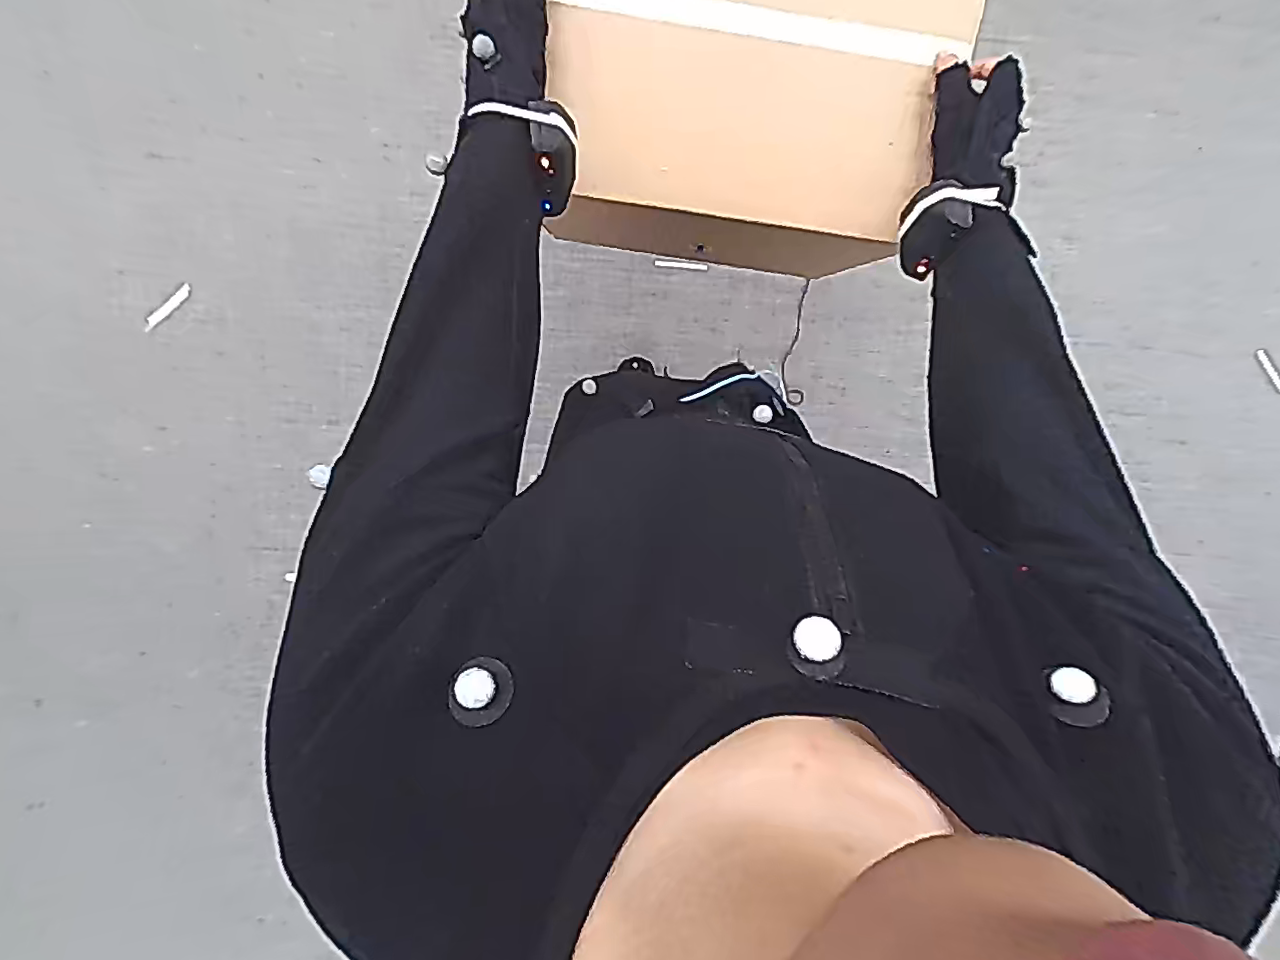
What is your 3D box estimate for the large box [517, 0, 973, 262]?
[{"bbox_3d":[0.096,-0.453,0.630,0.408,0.320,0.320,7,104,-3],"label":"large box"}]
